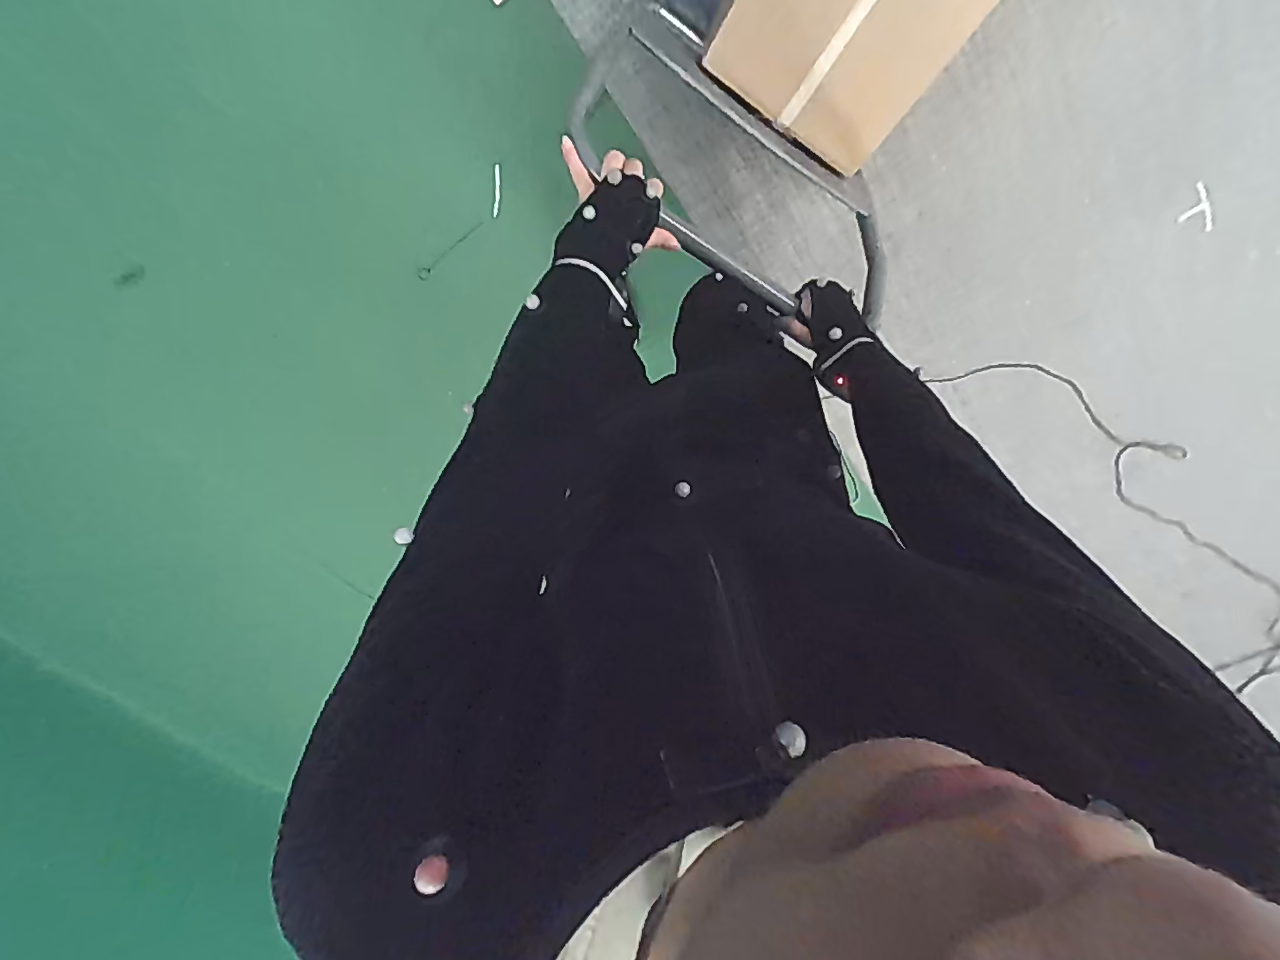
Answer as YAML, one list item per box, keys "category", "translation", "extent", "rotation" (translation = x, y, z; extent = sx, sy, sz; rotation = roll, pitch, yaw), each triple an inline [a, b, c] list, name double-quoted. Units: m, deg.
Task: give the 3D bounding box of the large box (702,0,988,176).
- category: "large box"
  translation: [0.339, -0.804, 0.867]
  extent: [0.320, 0.320, 0.408]
  rotation: [26, 135, -18]
